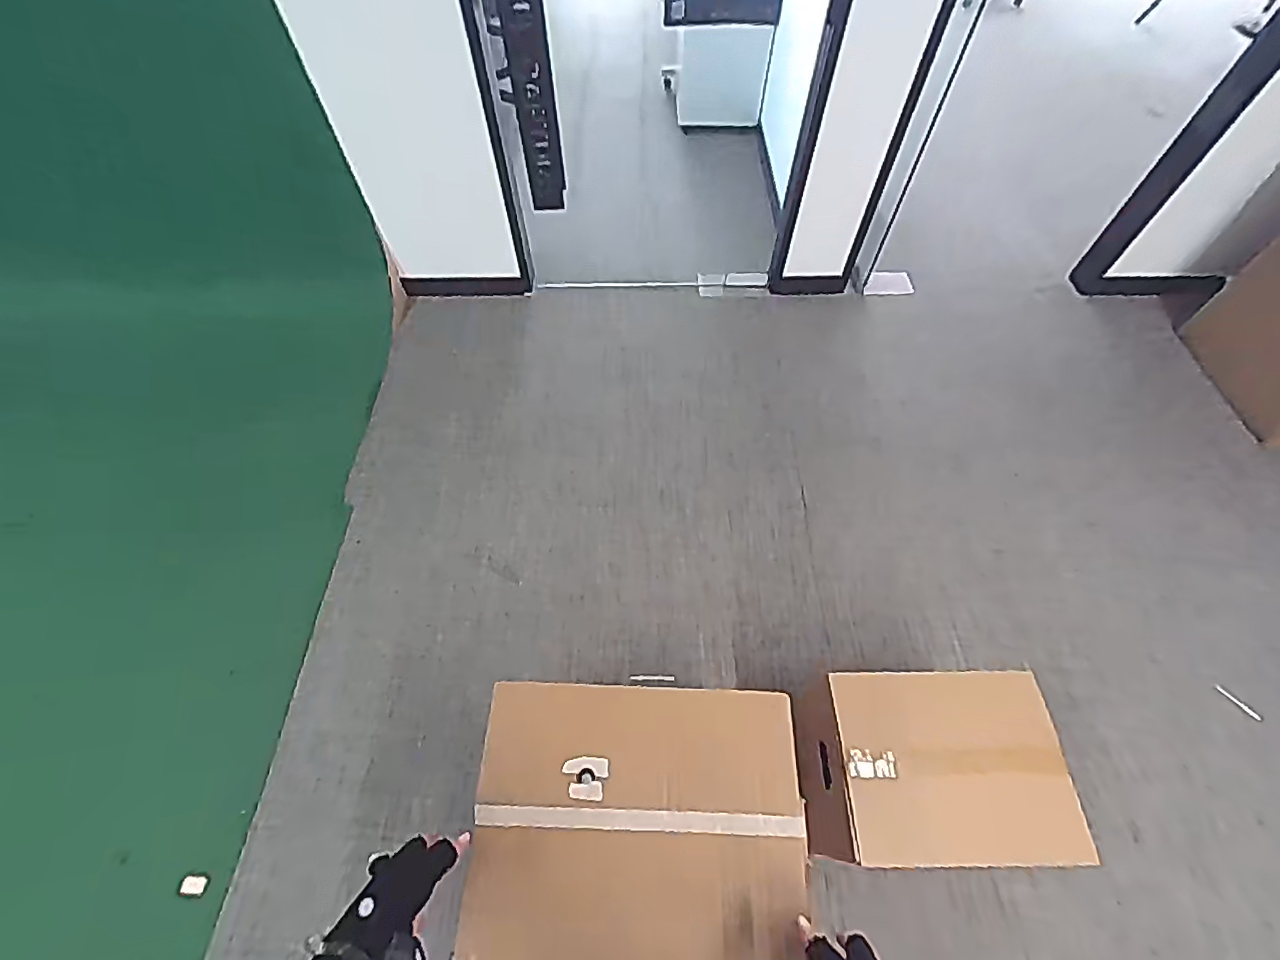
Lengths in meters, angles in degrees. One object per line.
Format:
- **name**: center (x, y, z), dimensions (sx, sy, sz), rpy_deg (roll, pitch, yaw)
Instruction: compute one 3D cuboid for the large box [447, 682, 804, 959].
- **large box**: center (-0.009, 0.484, 0.792), dimensions (0.408, 0.320, 0.320), rpy_deg (1, 61, 2)
